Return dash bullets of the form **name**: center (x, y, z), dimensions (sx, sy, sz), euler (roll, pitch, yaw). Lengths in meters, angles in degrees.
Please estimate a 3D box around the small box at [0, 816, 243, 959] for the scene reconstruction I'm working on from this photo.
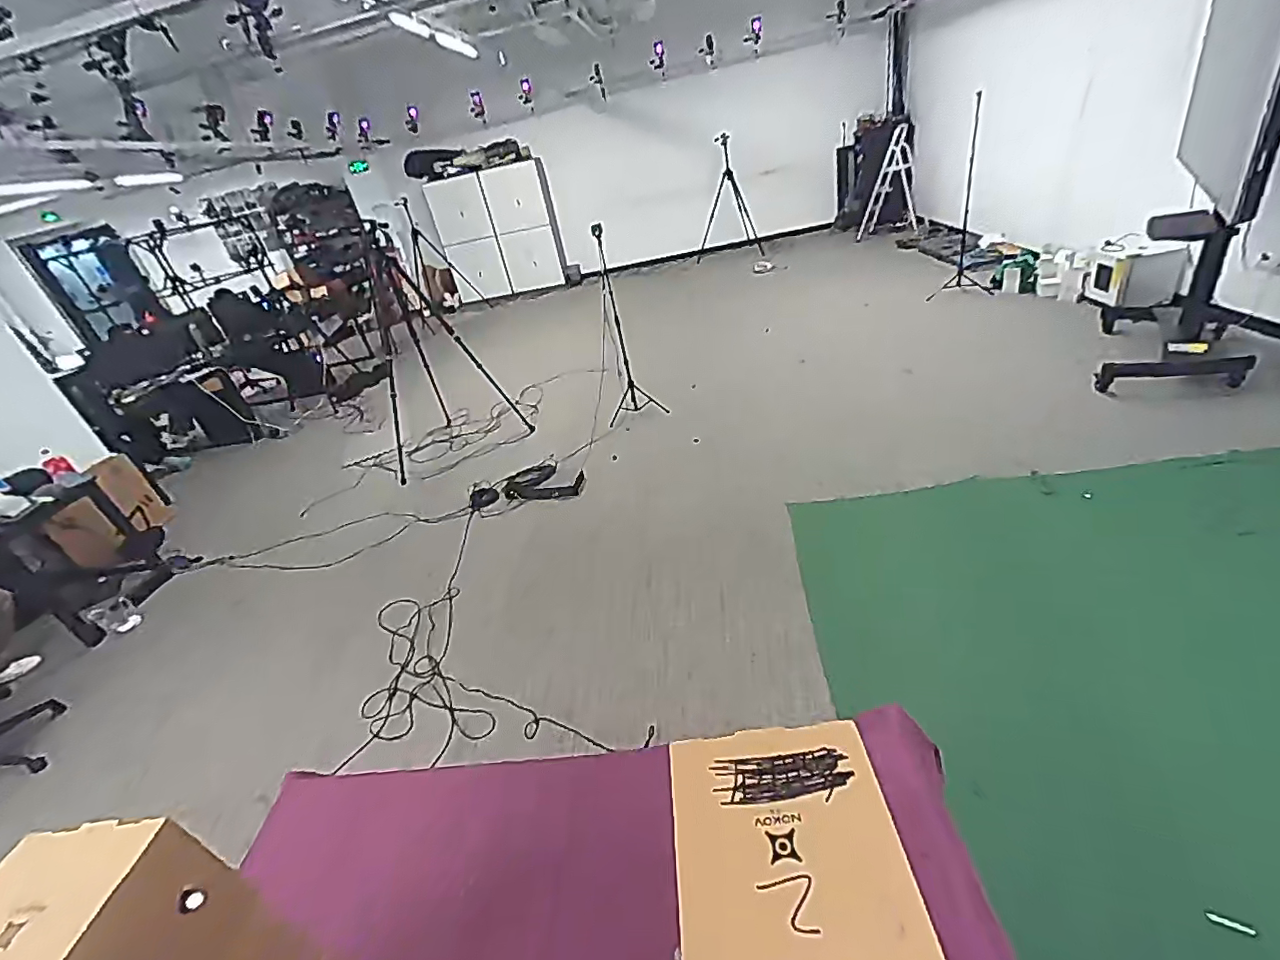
- **small box**: center (-0.526, 0.455, 0.508), dimensions (0.168, 0.176, 0.179), euler (-10, 30, 7)
